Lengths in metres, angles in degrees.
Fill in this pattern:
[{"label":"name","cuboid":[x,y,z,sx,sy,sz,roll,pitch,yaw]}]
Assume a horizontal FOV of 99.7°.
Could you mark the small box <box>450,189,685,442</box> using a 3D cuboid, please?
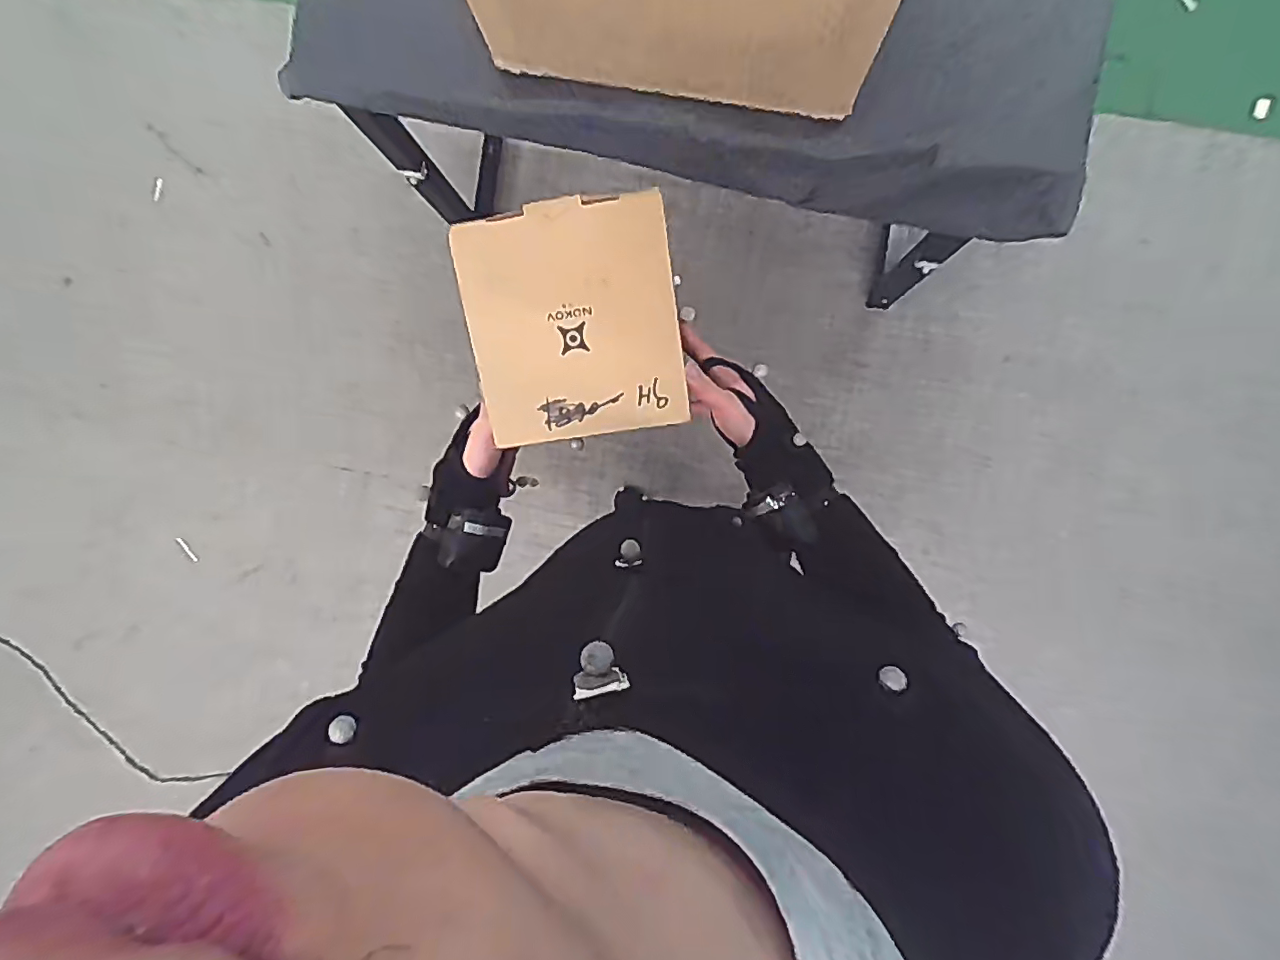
[{"label":"small box","cuboid":[-0.049,-0.141,0.501,0.168,0.176,0.179,-6,104,7]}]
